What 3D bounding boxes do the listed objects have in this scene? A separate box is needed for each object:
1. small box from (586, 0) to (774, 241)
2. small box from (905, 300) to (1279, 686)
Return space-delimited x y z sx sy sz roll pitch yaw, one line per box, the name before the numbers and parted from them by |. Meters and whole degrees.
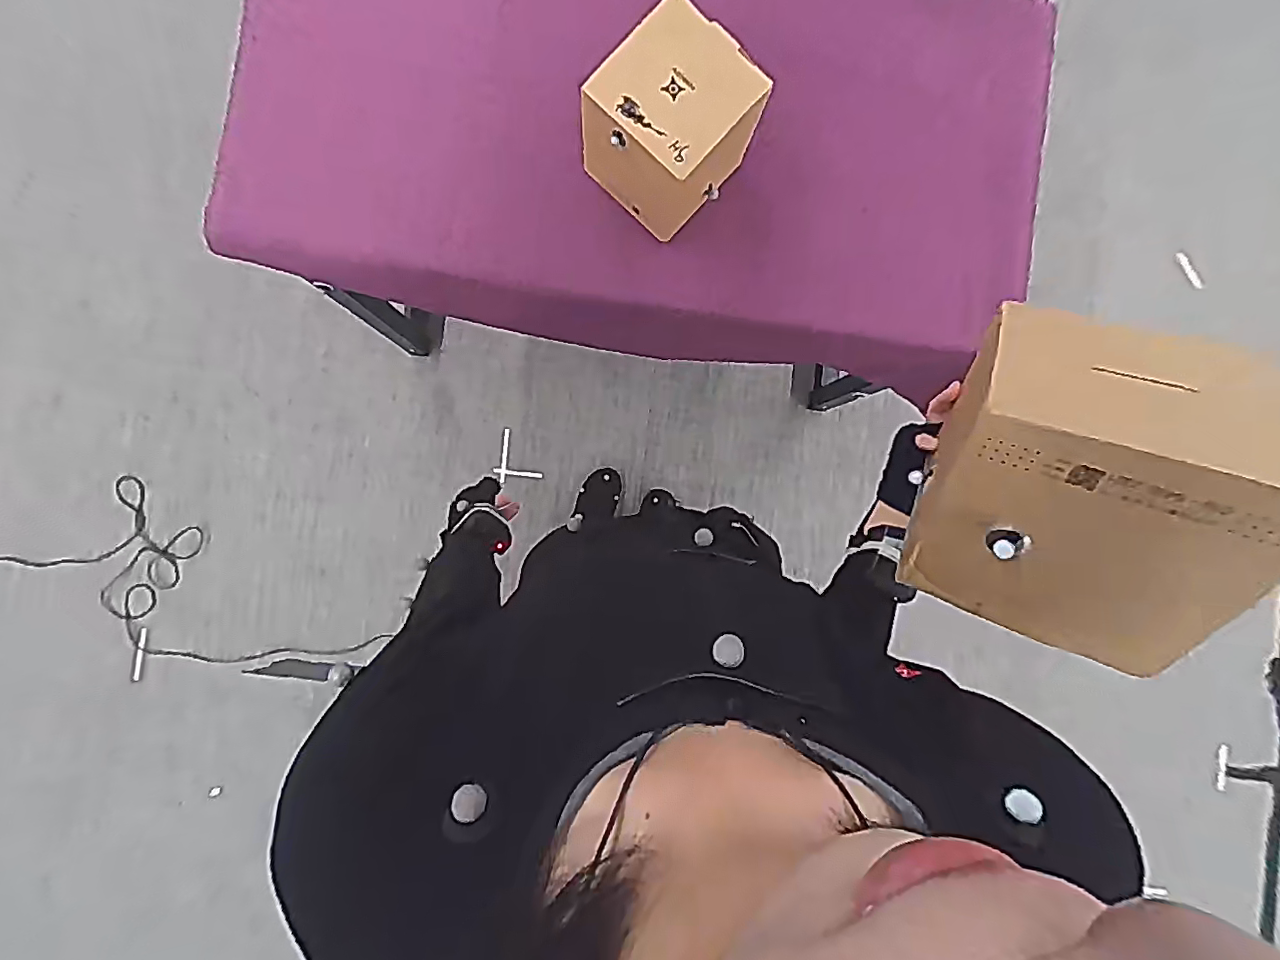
small box | 0.041 -0.467 0.725 0.168 0.176 0.179 42 85 -2
small box | 0.310 -0.004 0.374 0.168 0.176 0.179 23 47 21
